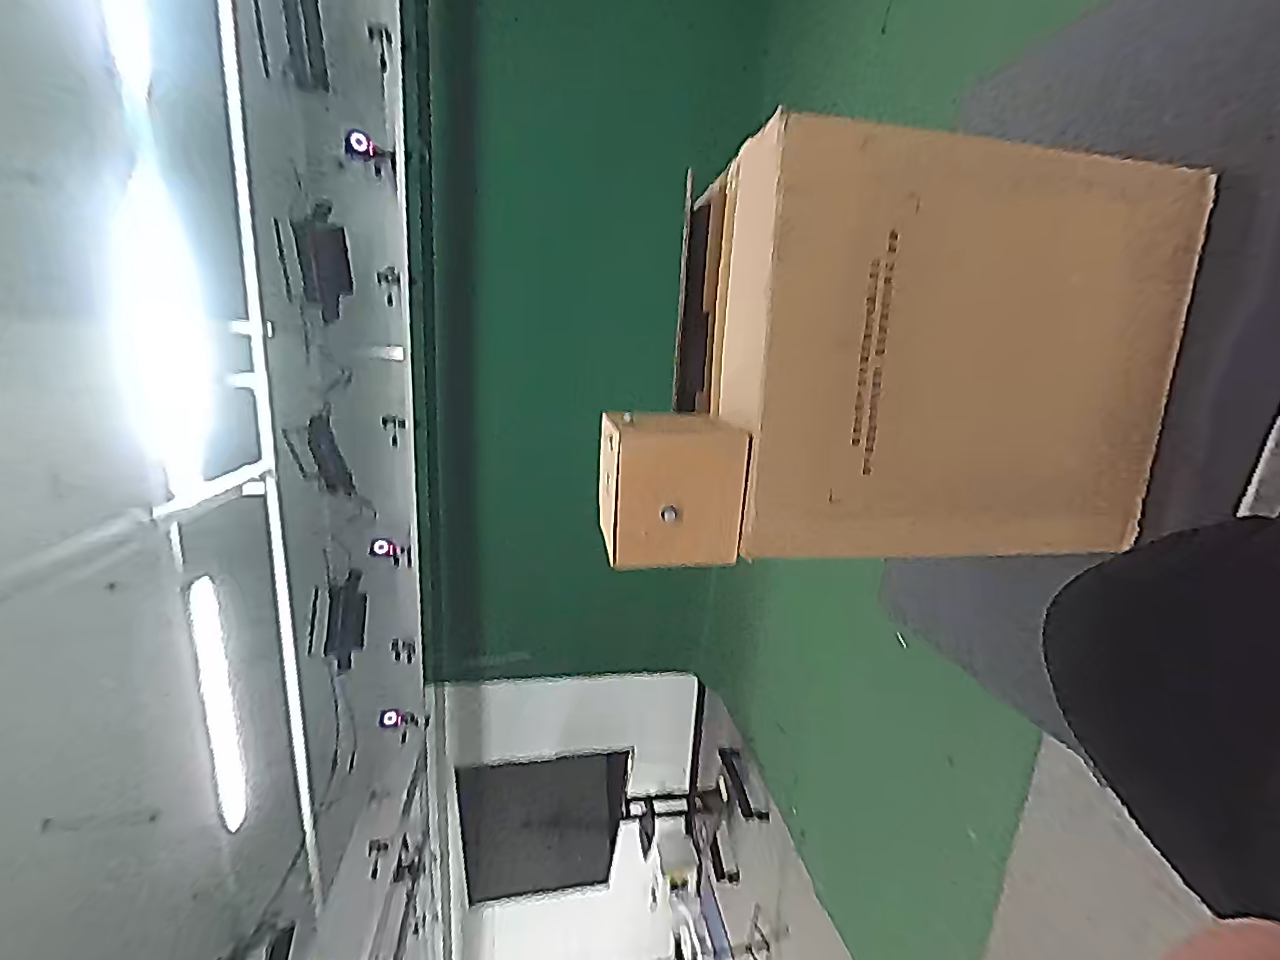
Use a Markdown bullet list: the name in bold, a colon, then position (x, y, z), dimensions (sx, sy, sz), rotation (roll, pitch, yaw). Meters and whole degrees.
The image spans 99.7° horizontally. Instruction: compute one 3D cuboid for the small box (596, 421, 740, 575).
- **small box**: position (0.032, 0.016, 0.760), dimensions (0.168, 0.176, 0.179), rotation (-129, 39, -70)
